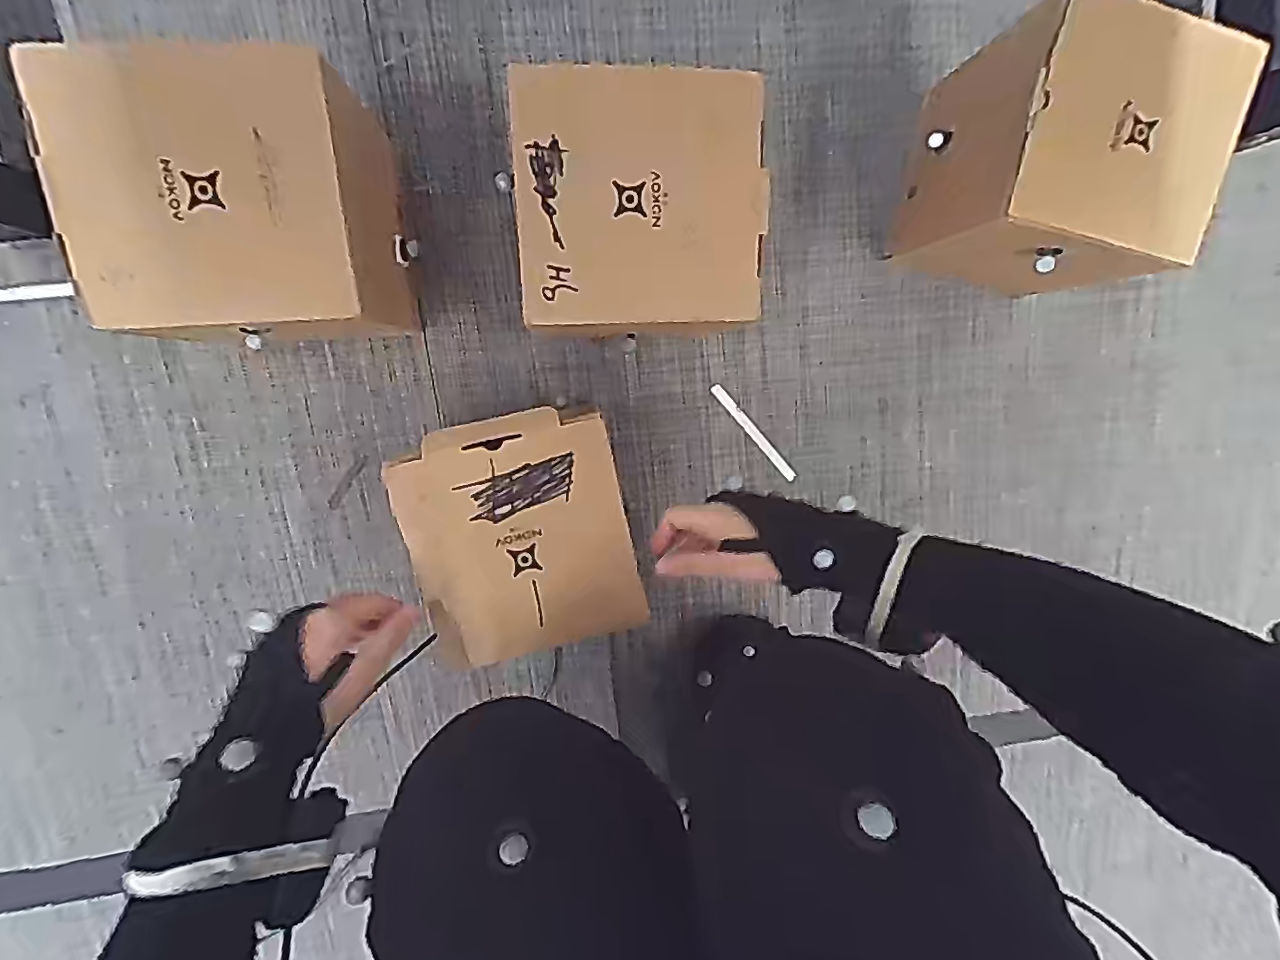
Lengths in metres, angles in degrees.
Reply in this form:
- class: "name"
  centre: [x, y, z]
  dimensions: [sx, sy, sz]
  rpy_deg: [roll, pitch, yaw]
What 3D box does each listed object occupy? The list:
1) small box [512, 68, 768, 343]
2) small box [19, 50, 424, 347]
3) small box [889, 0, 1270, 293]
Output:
- class: "small box"
  centre: [-0.008, -0.205, 0.453]
  dimensions: [0.179, 0.176, 0.168]
  rpy_deg: [-2, 102, -7]
- class: "small box"
  centre: [-0.289, -0.194, 0.422]
  dimensions: [0.179, 0.176, 0.168]
  rpy_deg: [-5, 102, -7]
- class: "small box"
  centre: [0.365, -0.275, 0.485]
  dimensions: [0.179, 0.176, 0.168]
  rpy_deg: [10, 100, -8]
